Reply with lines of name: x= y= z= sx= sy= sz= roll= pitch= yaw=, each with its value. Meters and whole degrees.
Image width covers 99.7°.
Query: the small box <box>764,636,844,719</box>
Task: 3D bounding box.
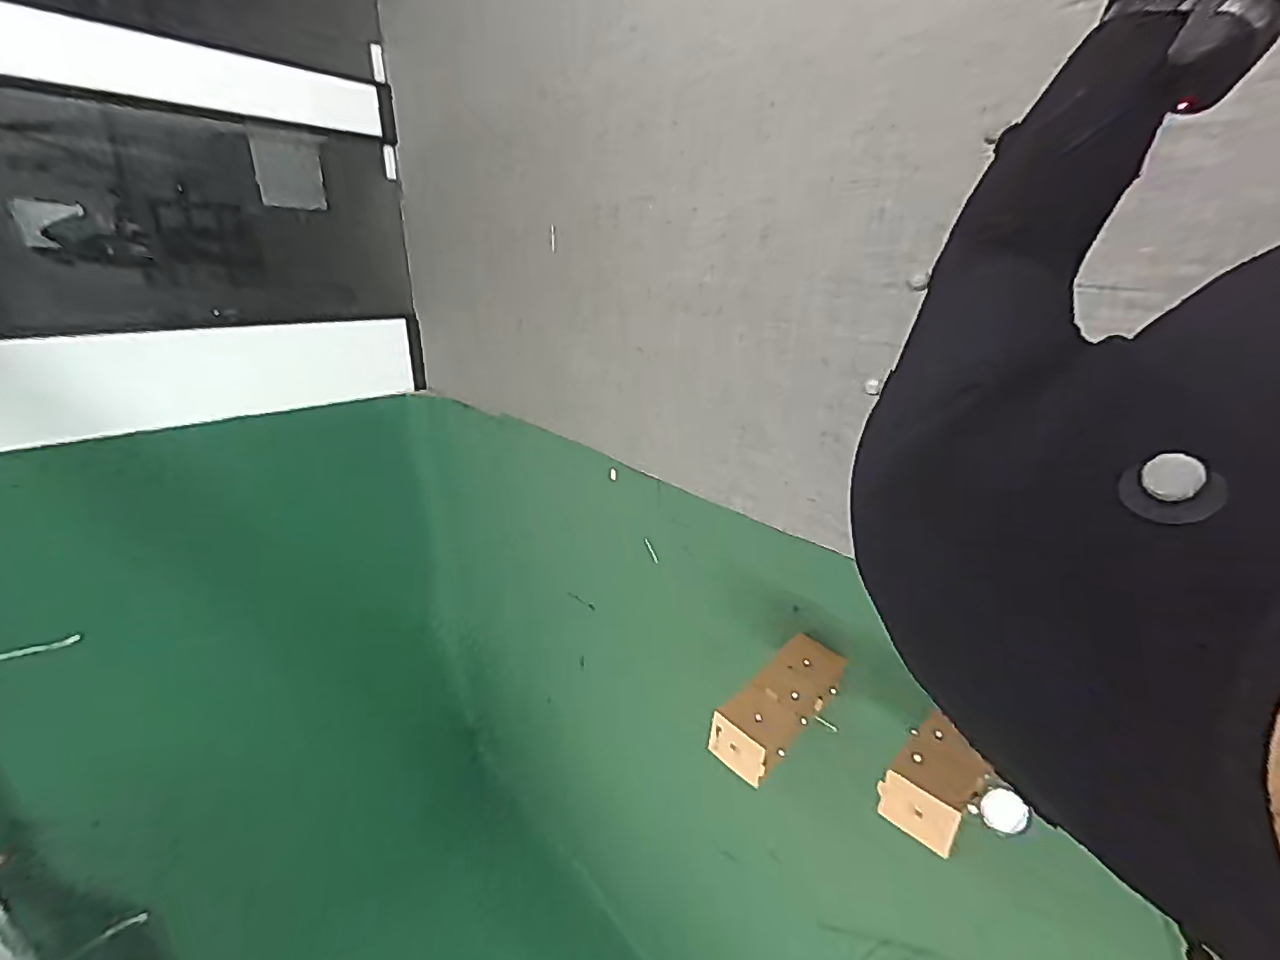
small box: x=0.548 y=0.648 z=1.805 sx=0.179 sy=0.176 sz=0.168 roll=28 pitch=123 yaw=37

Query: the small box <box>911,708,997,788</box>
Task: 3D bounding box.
small box: x=0.860 y=0.776 z=1.517 sx=0.179 sy=0.176 sz=0.168 roll=30 pitch=125 yaw=36

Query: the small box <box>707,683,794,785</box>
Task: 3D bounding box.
small box: x=0.324 y=0.732 z=1.580 sx=0.179 sy=0.176 sz=0.168 roll=26 pitch=122 yaw=37

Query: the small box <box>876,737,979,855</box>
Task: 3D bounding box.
small box: x=0.747 y=0.805 z=1.405 sx=0.179 sy=0.176 sz=0.168 roll=21 pitch=119 yaw=40
